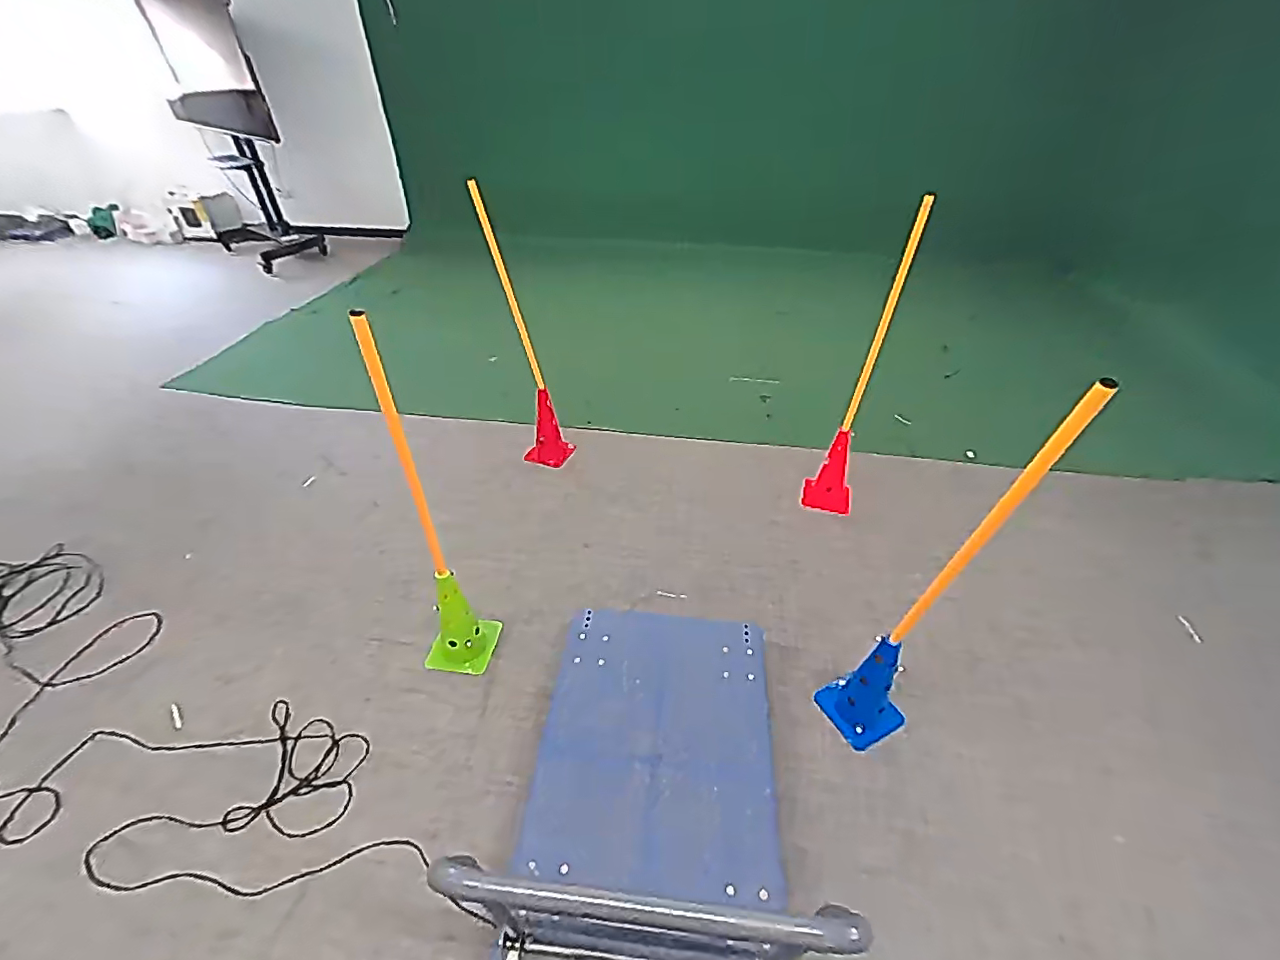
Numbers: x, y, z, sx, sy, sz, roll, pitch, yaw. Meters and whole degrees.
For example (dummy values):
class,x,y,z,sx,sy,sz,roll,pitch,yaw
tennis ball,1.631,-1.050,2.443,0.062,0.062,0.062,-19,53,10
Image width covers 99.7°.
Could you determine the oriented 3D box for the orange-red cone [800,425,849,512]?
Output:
class,x,y,z,sx,sy,sz,roll,pitch,yaw
orange-red cone,0.809,-0.069,2.260,0.198,0.360,0.199,12,41,16
